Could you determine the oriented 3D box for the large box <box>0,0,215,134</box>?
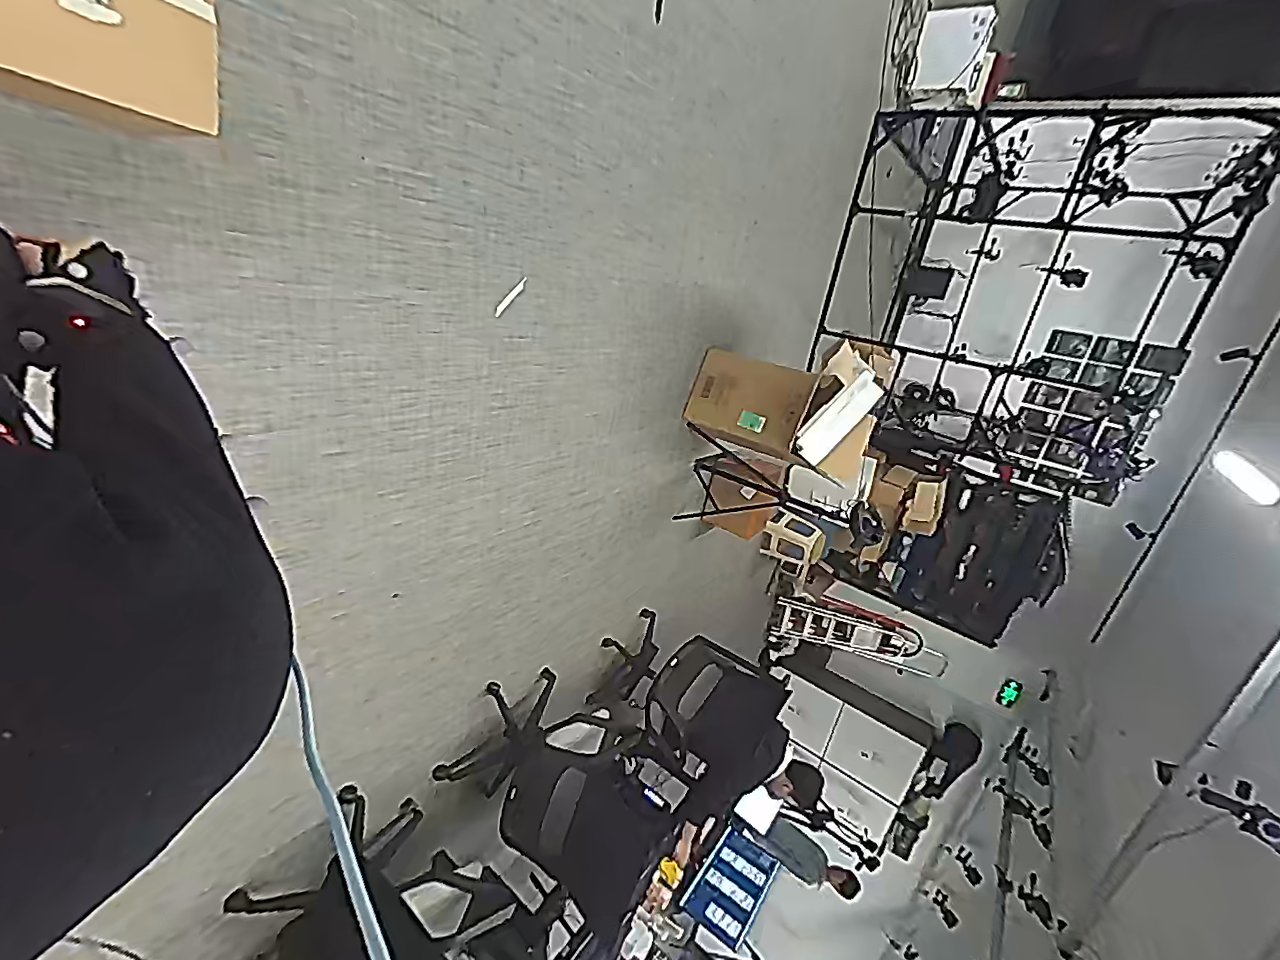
[{"bbox_3d":[-0.850,-0.682,0.687,0.408,0.320,0.320,-14,121,-55],"label":"large box"}]
